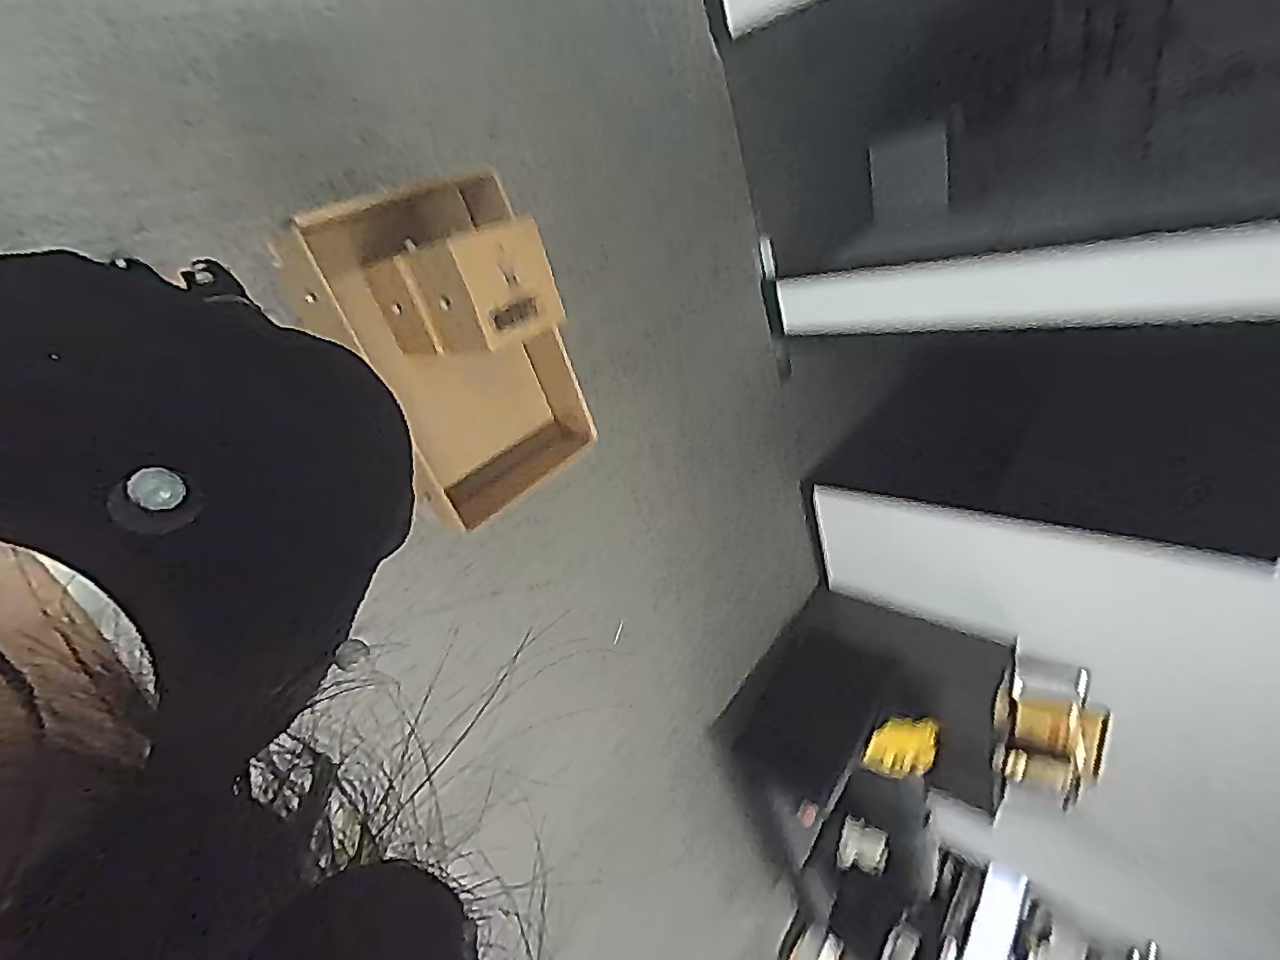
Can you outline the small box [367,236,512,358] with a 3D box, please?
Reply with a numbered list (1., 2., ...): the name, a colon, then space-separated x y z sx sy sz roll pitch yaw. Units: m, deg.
1. small box: -0.381 -0.345 1.030 0.168 0.176 0.179 -37 124 -34
